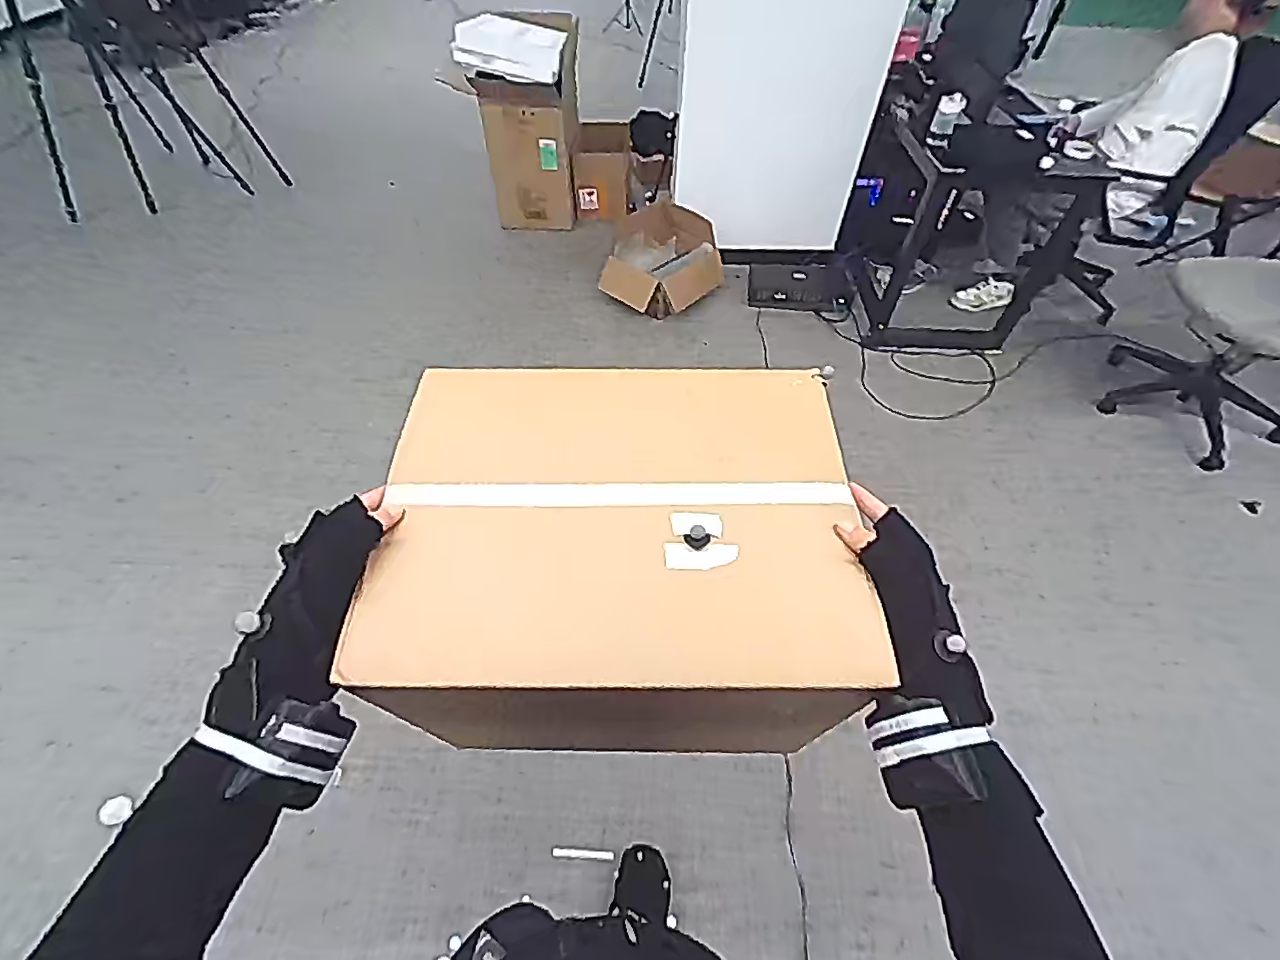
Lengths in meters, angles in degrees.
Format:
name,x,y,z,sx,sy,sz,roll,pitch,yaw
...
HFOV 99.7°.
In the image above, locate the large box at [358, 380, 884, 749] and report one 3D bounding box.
name,x,y,z,sx,sy,sz,roll,pitch,yaw
large box,-0.016,0.105,0.608,0.408,0.320,0.320,0,55,0
